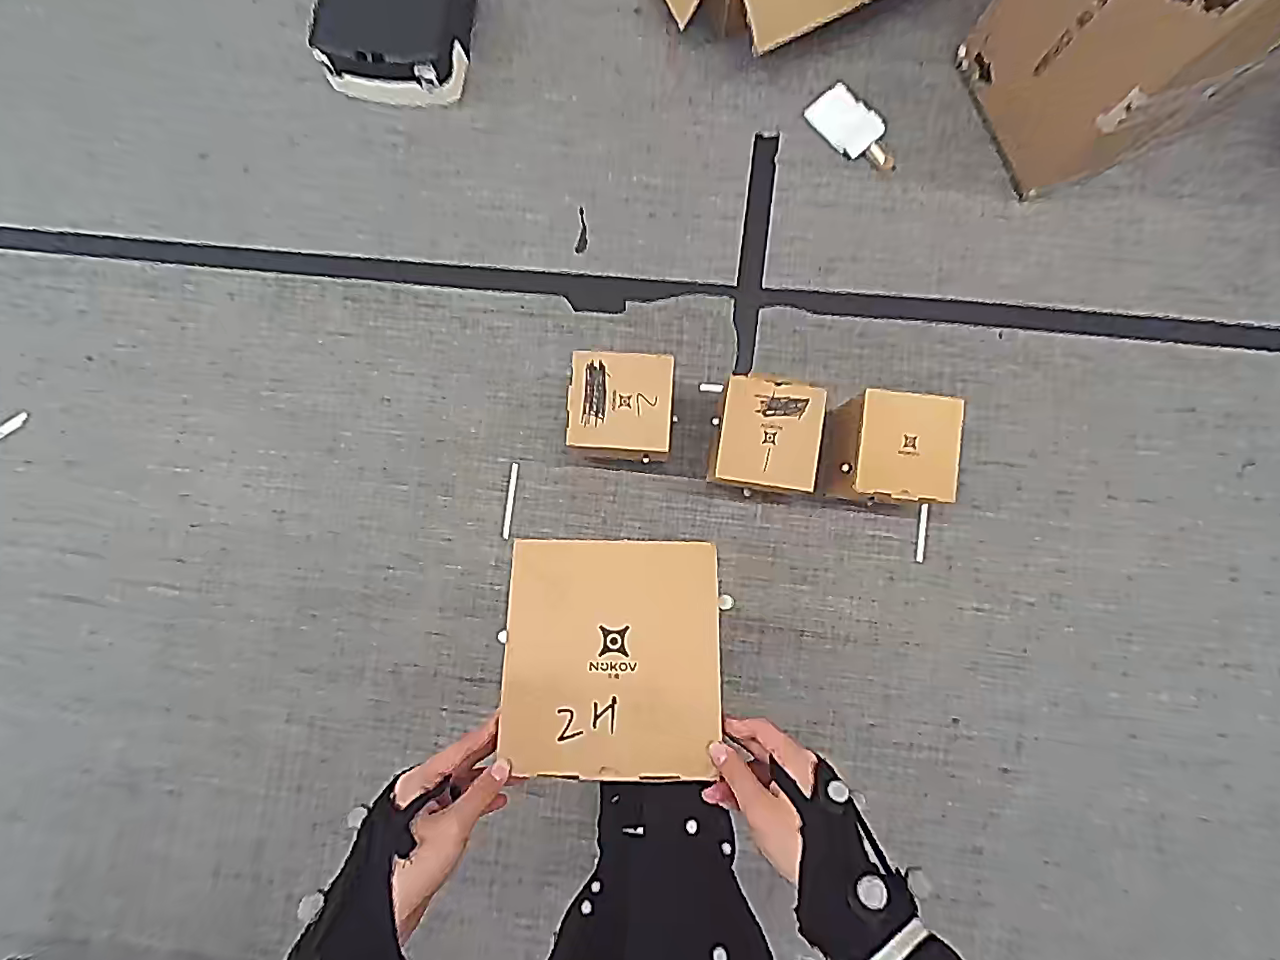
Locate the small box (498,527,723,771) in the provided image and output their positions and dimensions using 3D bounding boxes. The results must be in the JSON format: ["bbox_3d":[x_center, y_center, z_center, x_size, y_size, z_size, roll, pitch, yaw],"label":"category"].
[{"bbox_3d":[-0.020,0.147,0.488,0.168,0.176,0.179,1,73,0],"label":"small box"}]

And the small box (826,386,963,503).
[{"bbox_3d":[0.443,-0.055,0.965,0.168,0.176,0.179,7,87,2],"label":"small box"}]

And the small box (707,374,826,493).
[{"bbox_3d":[0.217,-0.075,0.970,0.168,0.176,0.179,9,87,2],"label":"small box"}]
